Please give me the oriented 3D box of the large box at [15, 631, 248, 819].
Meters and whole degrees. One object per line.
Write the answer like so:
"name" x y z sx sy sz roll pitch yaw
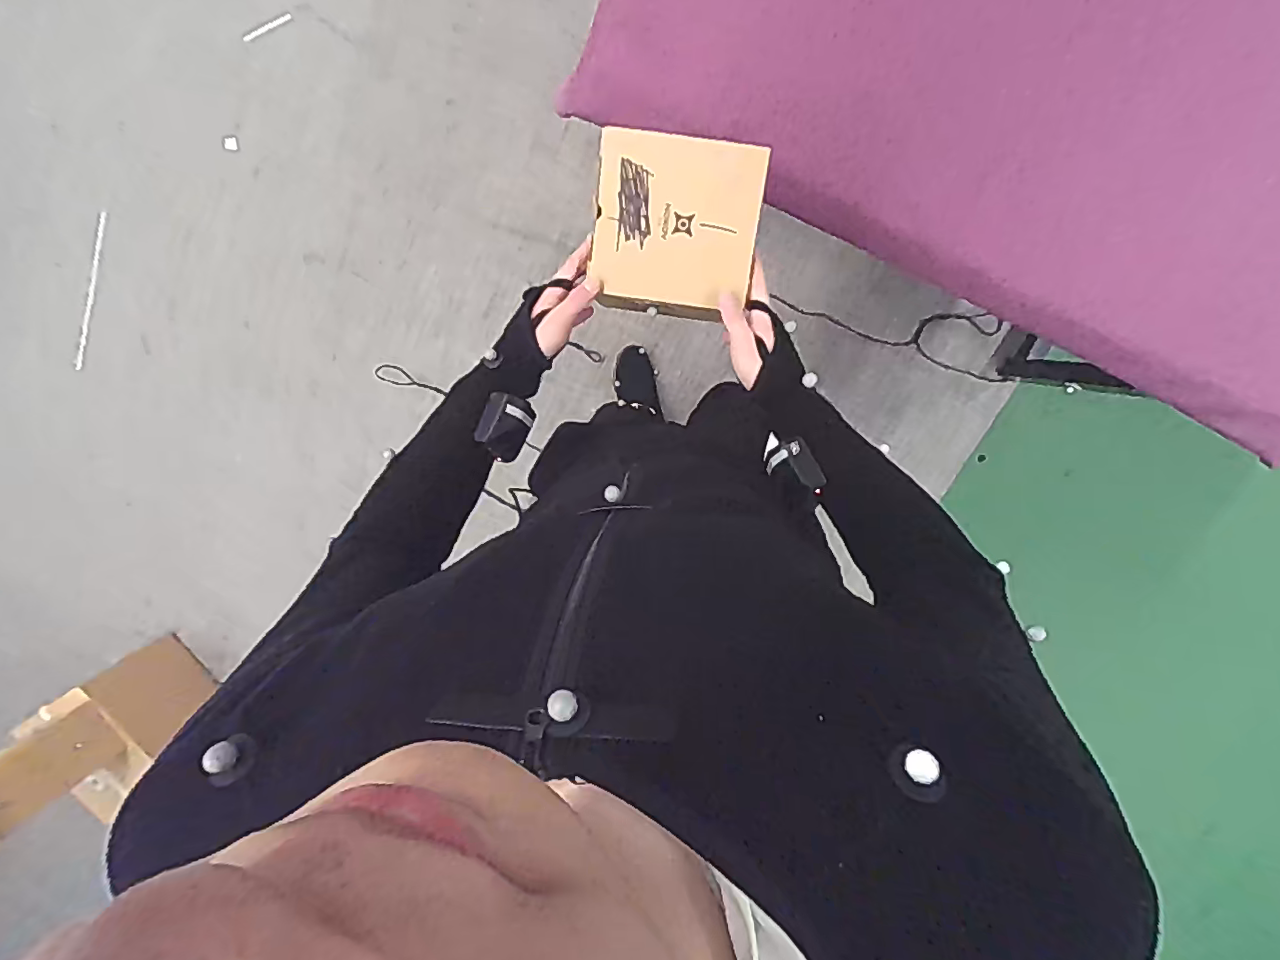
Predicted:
"large box" -1.630 0.787 1.771 0.320 0.320 0.408 -32 103 11

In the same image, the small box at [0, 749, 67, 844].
"small box" -1.632 0.809 1.354 0.168 0.176 0.179 -28 104 8

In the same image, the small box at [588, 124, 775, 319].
"small box" 0.043 -0.288 0.641 0.179 0.176 0.168 8 103 0
